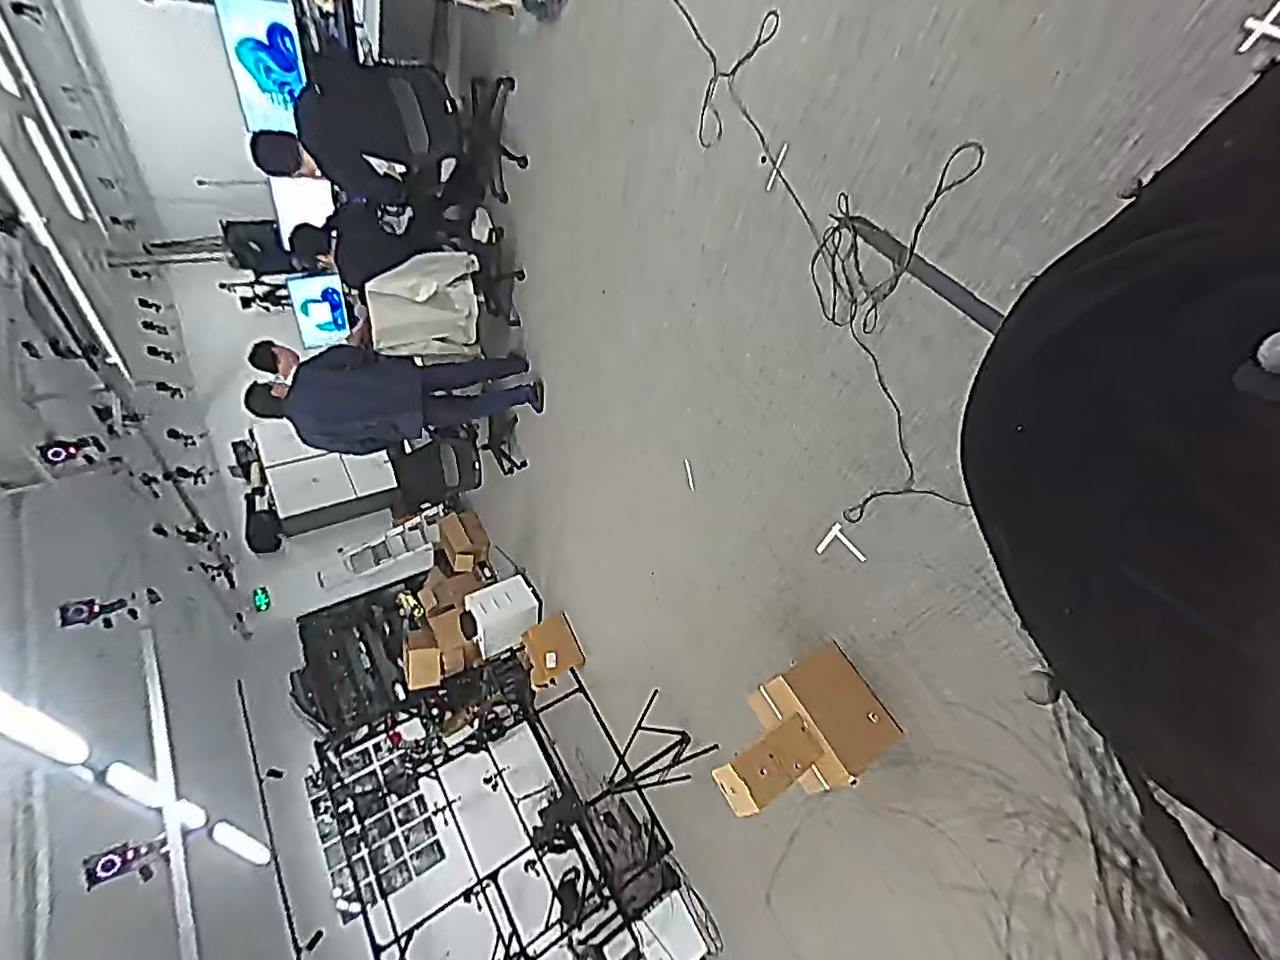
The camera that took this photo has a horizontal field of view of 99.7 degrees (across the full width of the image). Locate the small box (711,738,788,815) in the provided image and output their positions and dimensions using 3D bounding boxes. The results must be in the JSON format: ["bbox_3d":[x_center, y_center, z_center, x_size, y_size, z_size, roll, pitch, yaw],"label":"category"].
[{"bbox_3d":[0.382,1.019,1.867,0.168,0.176,0.179,56,146,23],"label":"small box"}]
